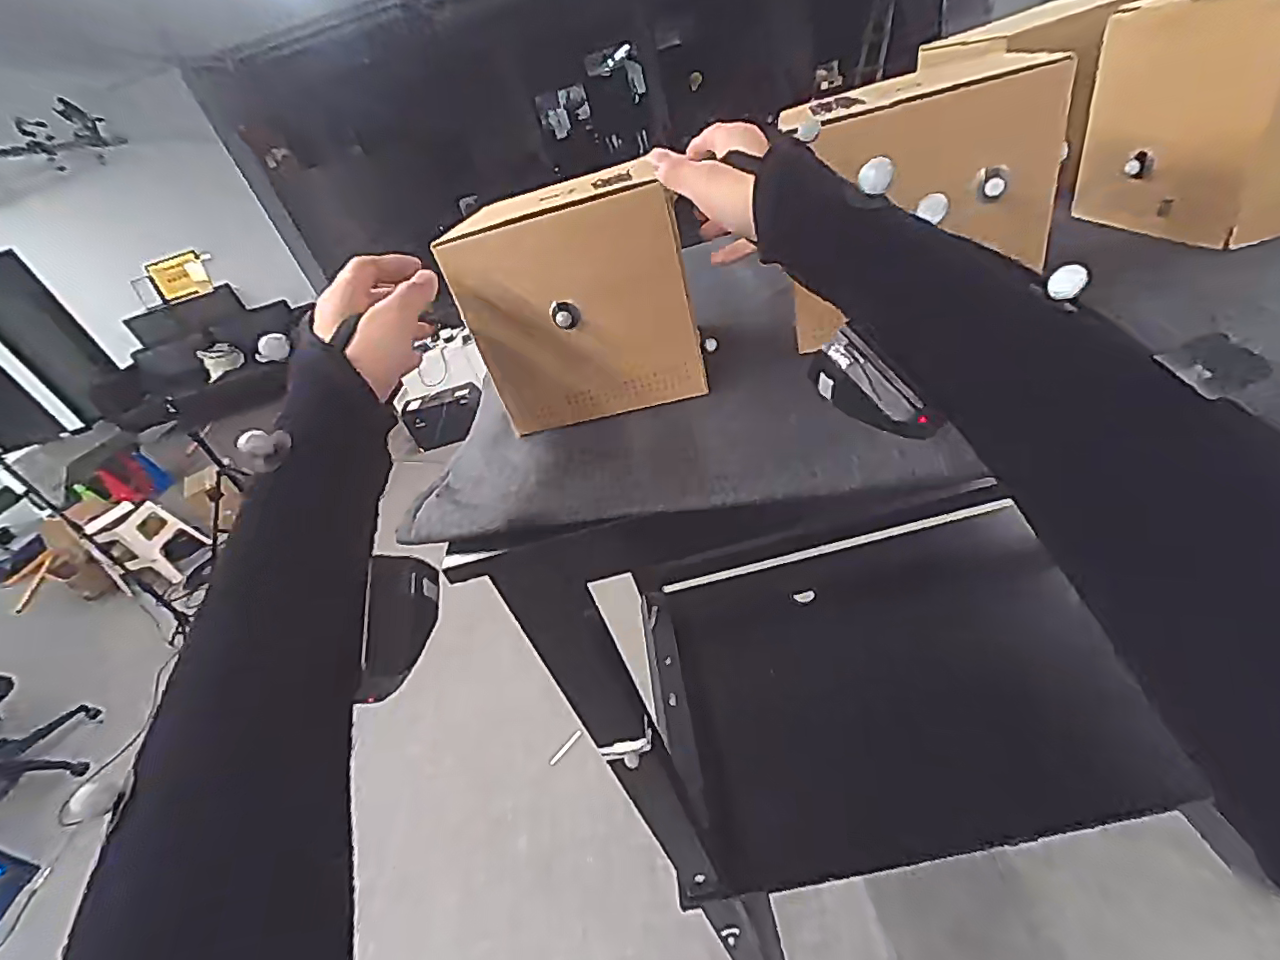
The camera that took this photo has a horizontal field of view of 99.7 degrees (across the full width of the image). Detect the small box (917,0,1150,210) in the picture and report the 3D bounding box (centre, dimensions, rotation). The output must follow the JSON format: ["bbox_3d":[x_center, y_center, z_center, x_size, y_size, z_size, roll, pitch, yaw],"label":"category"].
[{"bbox_3d":[0.449,-0.440,0.643,0.168,0.176,0.179,-16,36,5],"label":"small box"}]

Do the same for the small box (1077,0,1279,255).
[{"bbox_3d":[0.508,-0.306,0.437,0.179,0.176,0.168,-16,35,5],"label":"small box"}]

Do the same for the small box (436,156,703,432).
[{"bbox_3d":[-0.043,-0.166,0.488,0.179,0.176,0.168,-12,34,10],"label":"small box"}]
